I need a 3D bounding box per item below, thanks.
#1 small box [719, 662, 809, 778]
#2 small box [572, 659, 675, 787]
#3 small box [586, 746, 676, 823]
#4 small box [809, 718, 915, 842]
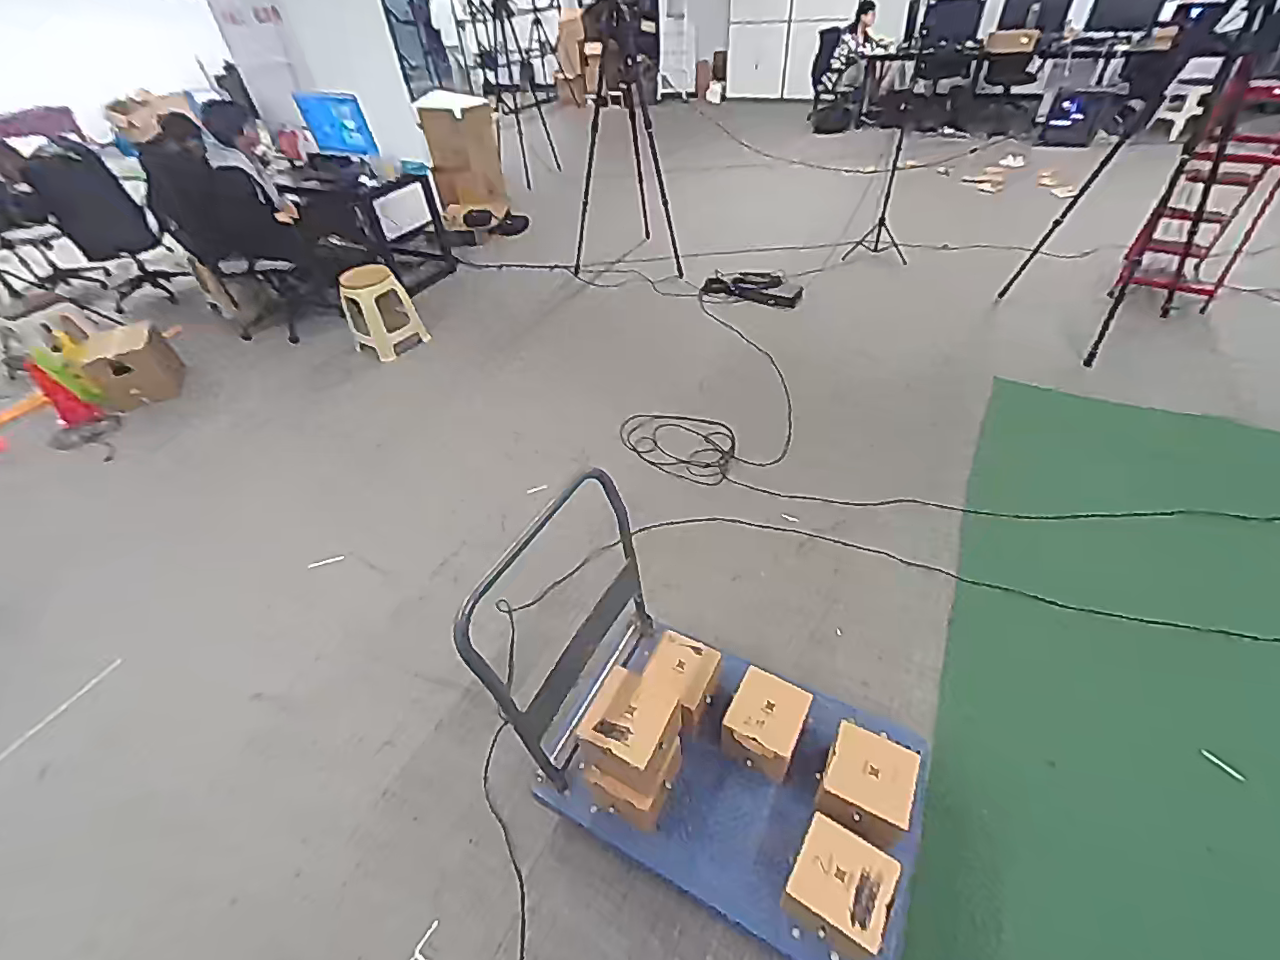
[{"bbox_3d":[0.303,0.601,1.353,0.168,0.176,0.179,21,49,25],"label":"small box"},{"bbox_3d":[-0.028,0.543,1.204,0.168,0.176,0.179,19,48,22],"label":"small box"},{"bbox_3d":[-0.027,0.683,1.308,0.168,0.176,0.179,-26,46,-19],"label":"small box"},{"bbox_3d":[0.502,0.691,1.241,0.179,0.176,0.168,19,49,24],"label":"small box"}]
